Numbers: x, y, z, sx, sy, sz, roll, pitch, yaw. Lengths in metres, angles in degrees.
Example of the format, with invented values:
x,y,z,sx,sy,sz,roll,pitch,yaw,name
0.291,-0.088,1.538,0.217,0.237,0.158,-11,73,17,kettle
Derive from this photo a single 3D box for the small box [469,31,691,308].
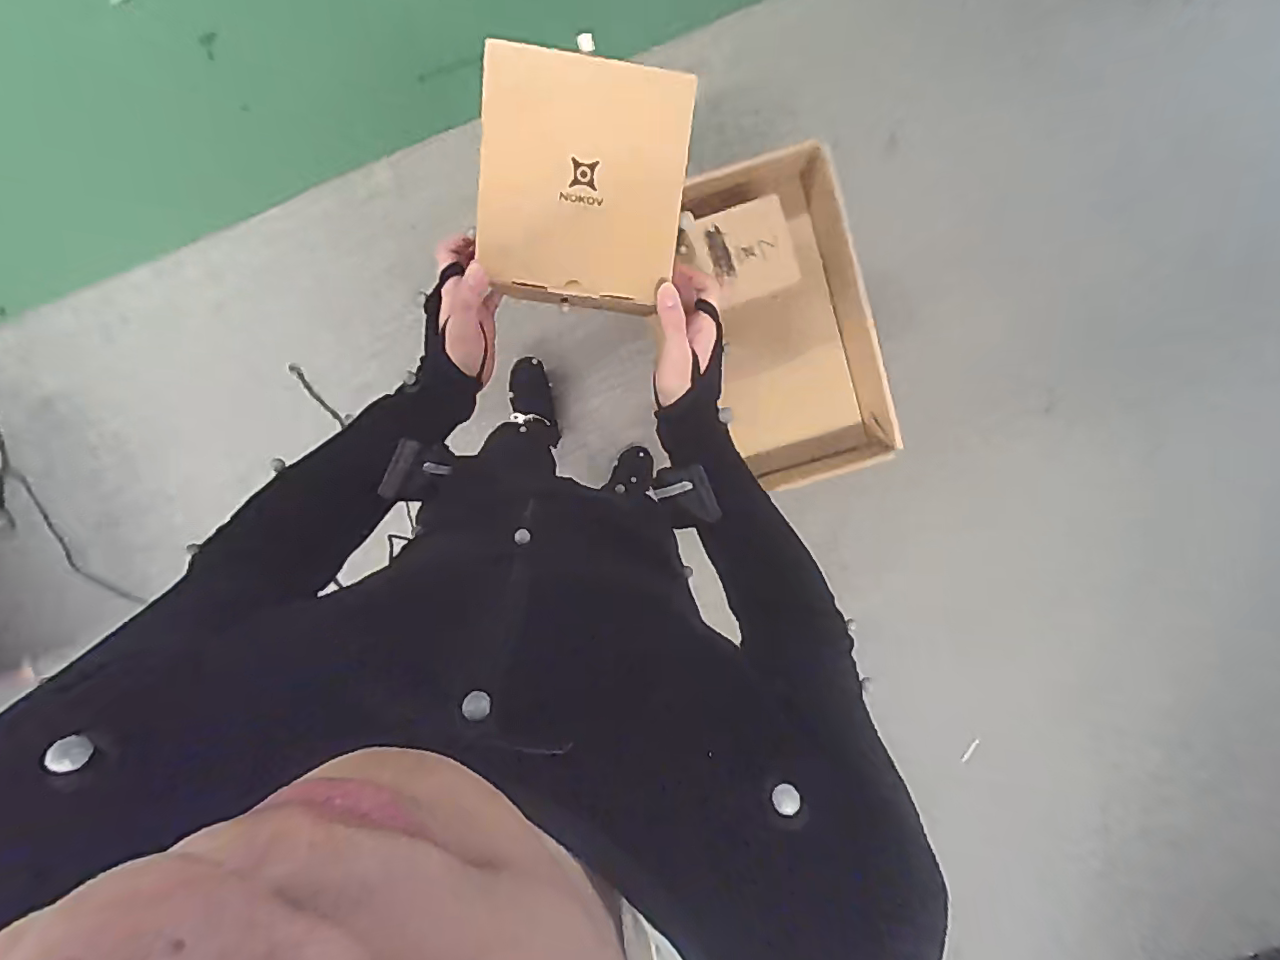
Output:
x,y,z,sx,sy,sz,roll,pitch,yaw,name
-0.058,-0.263,0.506,0.168,0.176,0.179,5,105,-7,small box
